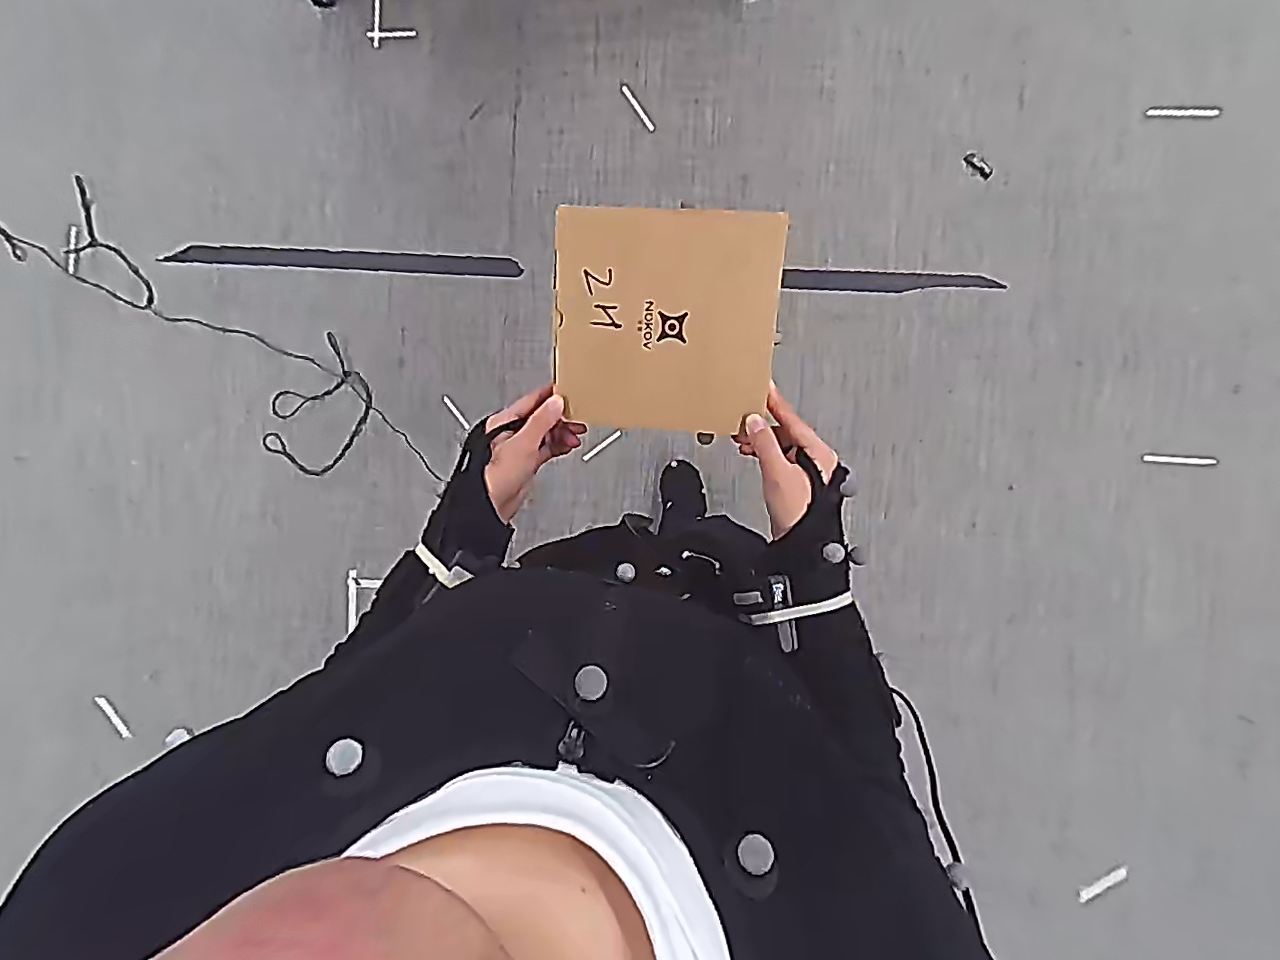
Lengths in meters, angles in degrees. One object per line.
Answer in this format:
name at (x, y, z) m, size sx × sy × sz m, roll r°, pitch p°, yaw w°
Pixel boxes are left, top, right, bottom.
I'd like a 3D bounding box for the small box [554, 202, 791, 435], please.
small box at (0.030, -0.144, 0.498) m, size 0.179 × 0.176 × 0.168 m, roll 6°, pitch 105°, yaw 7°
